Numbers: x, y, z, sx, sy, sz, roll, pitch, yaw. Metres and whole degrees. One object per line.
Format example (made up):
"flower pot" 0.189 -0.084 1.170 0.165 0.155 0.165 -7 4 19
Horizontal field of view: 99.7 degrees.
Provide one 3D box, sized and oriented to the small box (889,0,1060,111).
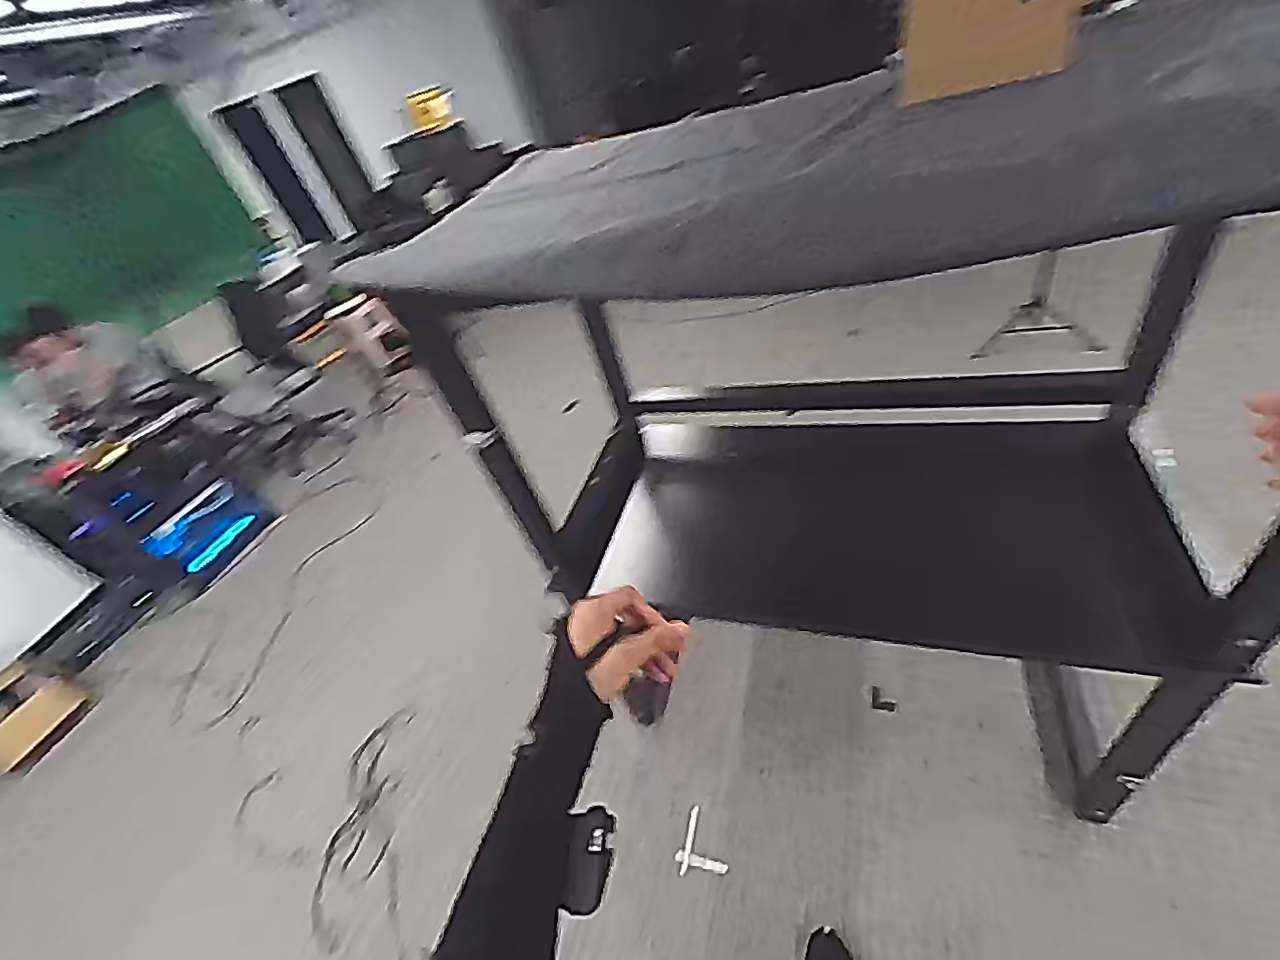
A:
"small box" 0.416 -0.596 0.682 0.179 0.176 0.168 3 44 24
